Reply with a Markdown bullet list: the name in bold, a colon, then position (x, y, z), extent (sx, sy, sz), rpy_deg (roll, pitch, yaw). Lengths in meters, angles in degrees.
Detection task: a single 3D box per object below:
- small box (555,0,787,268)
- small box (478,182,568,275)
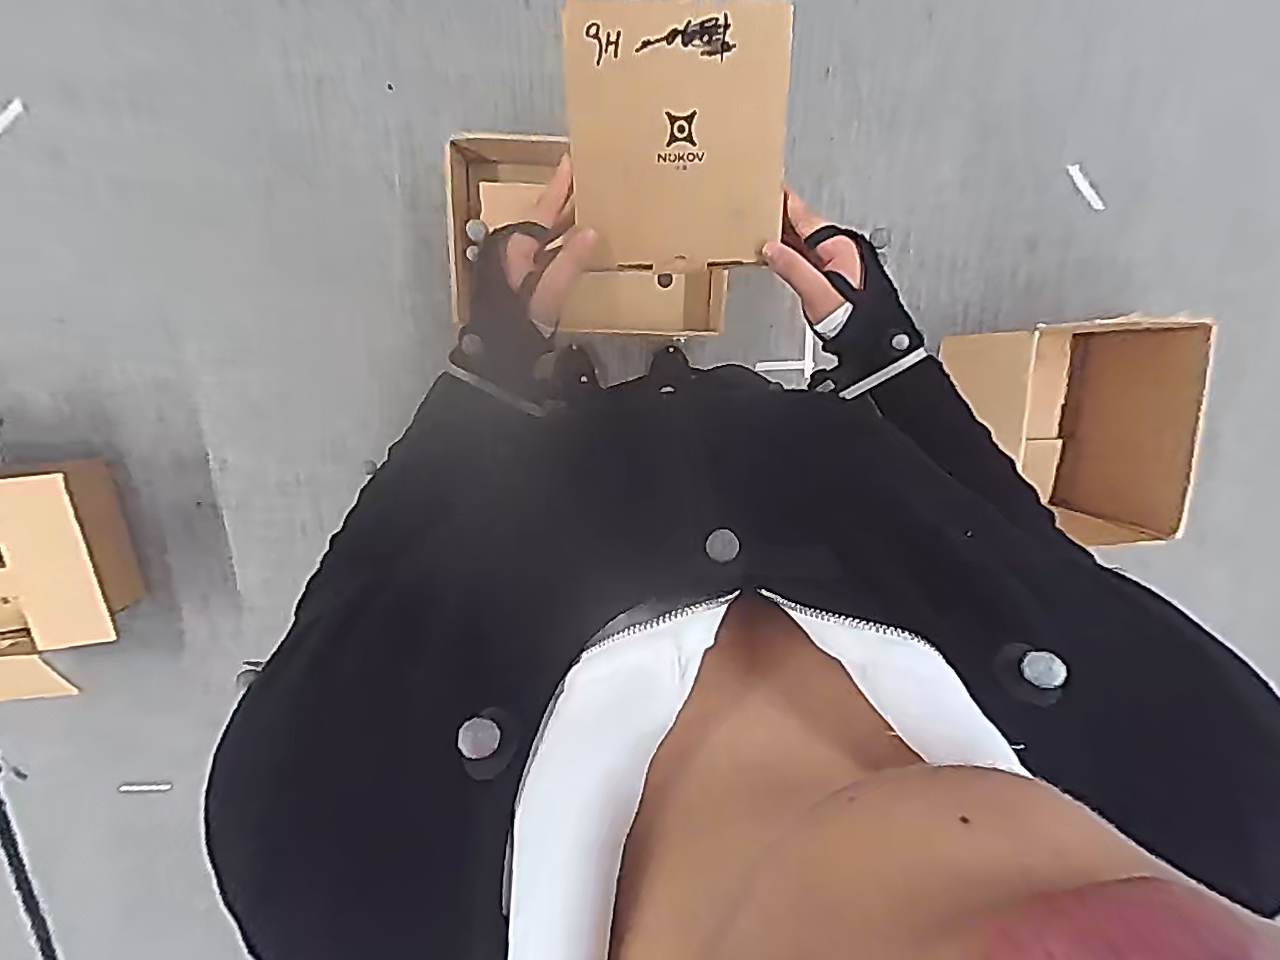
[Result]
- **small box**: position (0.018, -0.285, 0.479), extent (0.168, 0.176, 0.179), rpy_deg (-3, 112, -4)
- **small box**: position (-0.258, -0.563, 1.230), extent (0.179, 0.176, 0.168), rpy_deg (0, 105, -4)
